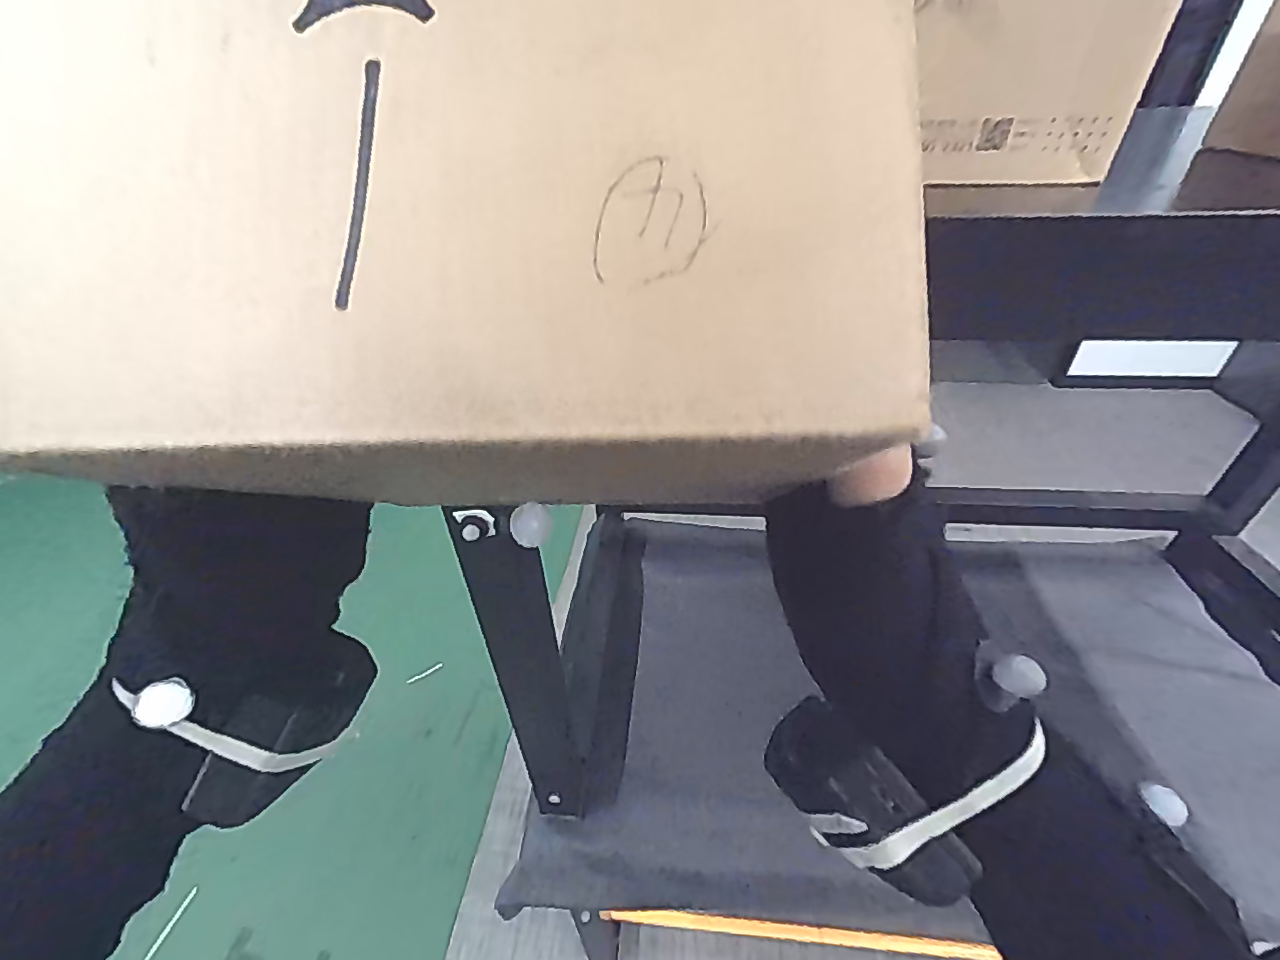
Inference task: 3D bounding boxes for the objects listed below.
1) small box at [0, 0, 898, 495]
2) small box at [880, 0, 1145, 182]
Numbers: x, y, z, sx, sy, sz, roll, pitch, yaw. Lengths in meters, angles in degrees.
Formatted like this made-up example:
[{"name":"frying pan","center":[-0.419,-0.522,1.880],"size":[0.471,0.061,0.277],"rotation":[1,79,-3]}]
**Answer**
[{"name":"small box","center":[-0.037,-0.089,0.173],"size":[0.168,0.179,0.176],"rotation":[-1,-5,5]},{"name":"small box","center":[0.172,-0.281,0.321],"size":[0.168,0.176,0.179],"rotation":[4,36,8]}]
